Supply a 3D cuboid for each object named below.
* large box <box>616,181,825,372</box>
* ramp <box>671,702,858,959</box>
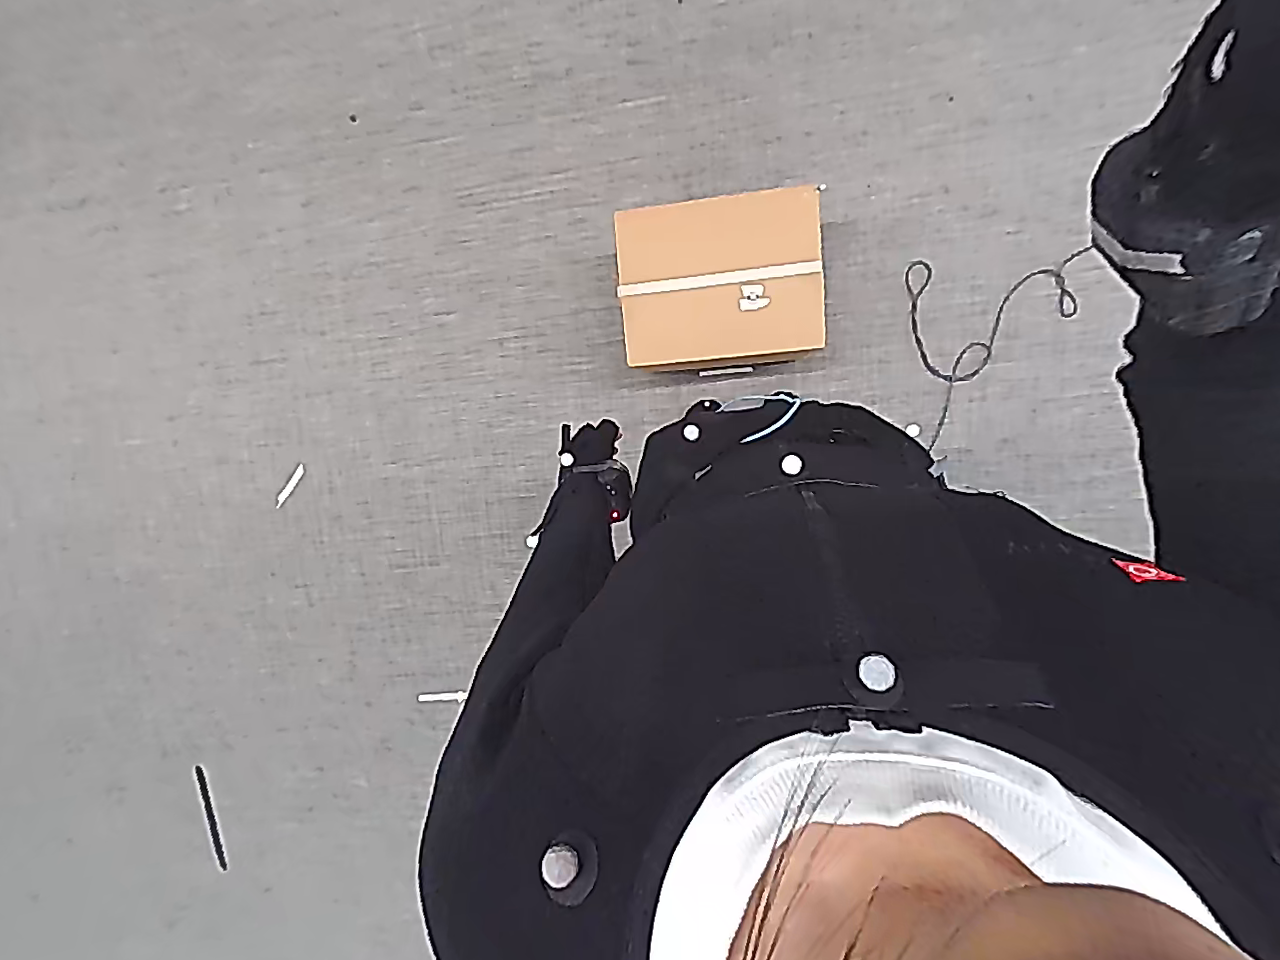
[{"bbox_3d":[0.177,-0.431,1.235,0.408,0.320,0.320,-4,99,8],"label":"large box"},{"bbox_3d":[0.343,1.129,1.507,0.509,0.206,0.991,-4,97,10],"label":"ramp"}]
